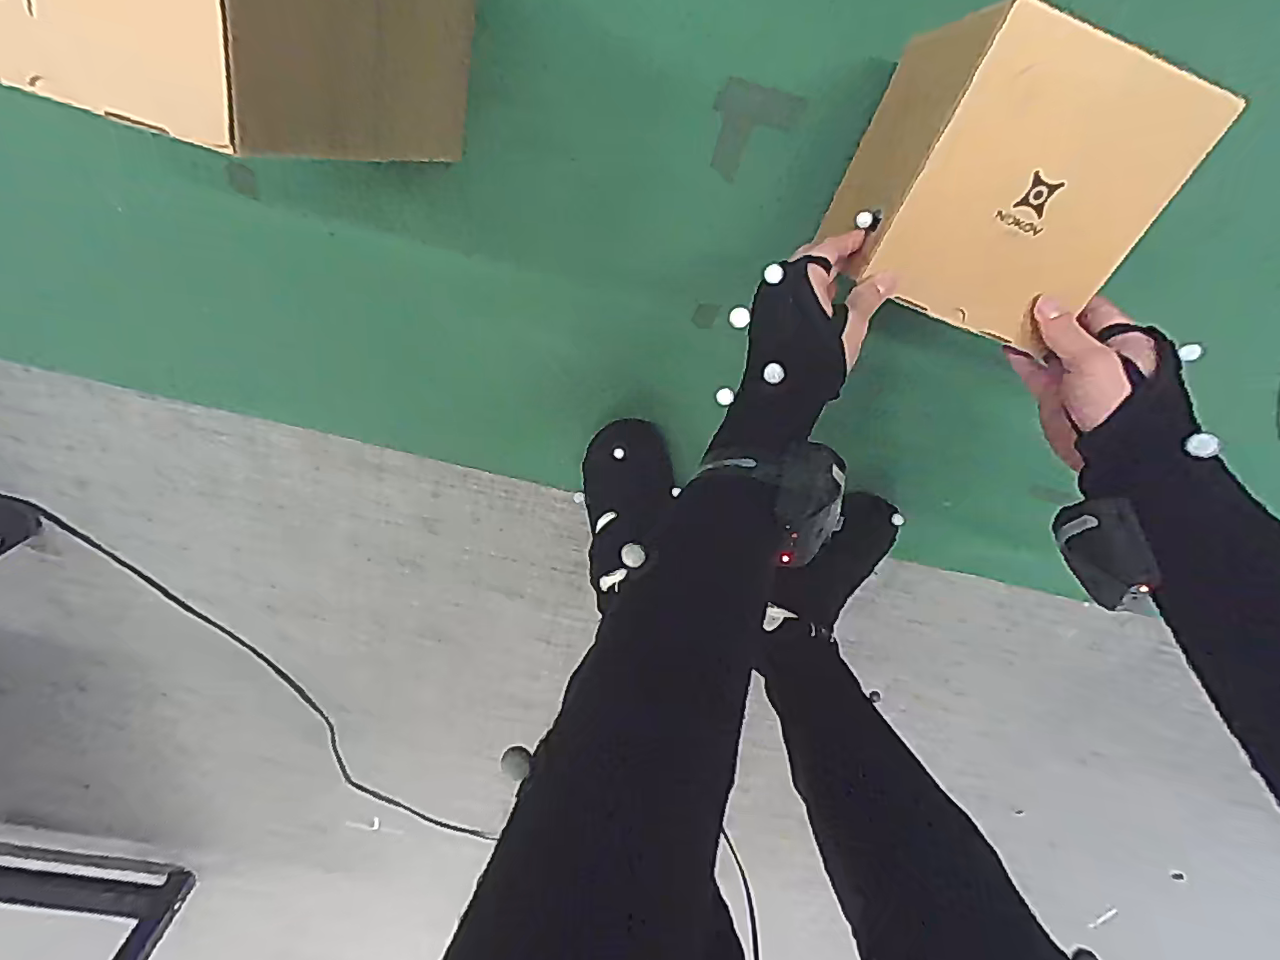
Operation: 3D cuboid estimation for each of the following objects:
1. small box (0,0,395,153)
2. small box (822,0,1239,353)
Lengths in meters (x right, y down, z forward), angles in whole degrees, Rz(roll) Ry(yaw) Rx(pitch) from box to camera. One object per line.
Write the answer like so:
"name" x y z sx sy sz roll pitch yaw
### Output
"small box" -0.239 -0.288 0.272 0.168 0.176 0.179 16 120 -6
"small box" 0.269 -0.233 0.431 0.168 0.176 0.179 18 122 -7
